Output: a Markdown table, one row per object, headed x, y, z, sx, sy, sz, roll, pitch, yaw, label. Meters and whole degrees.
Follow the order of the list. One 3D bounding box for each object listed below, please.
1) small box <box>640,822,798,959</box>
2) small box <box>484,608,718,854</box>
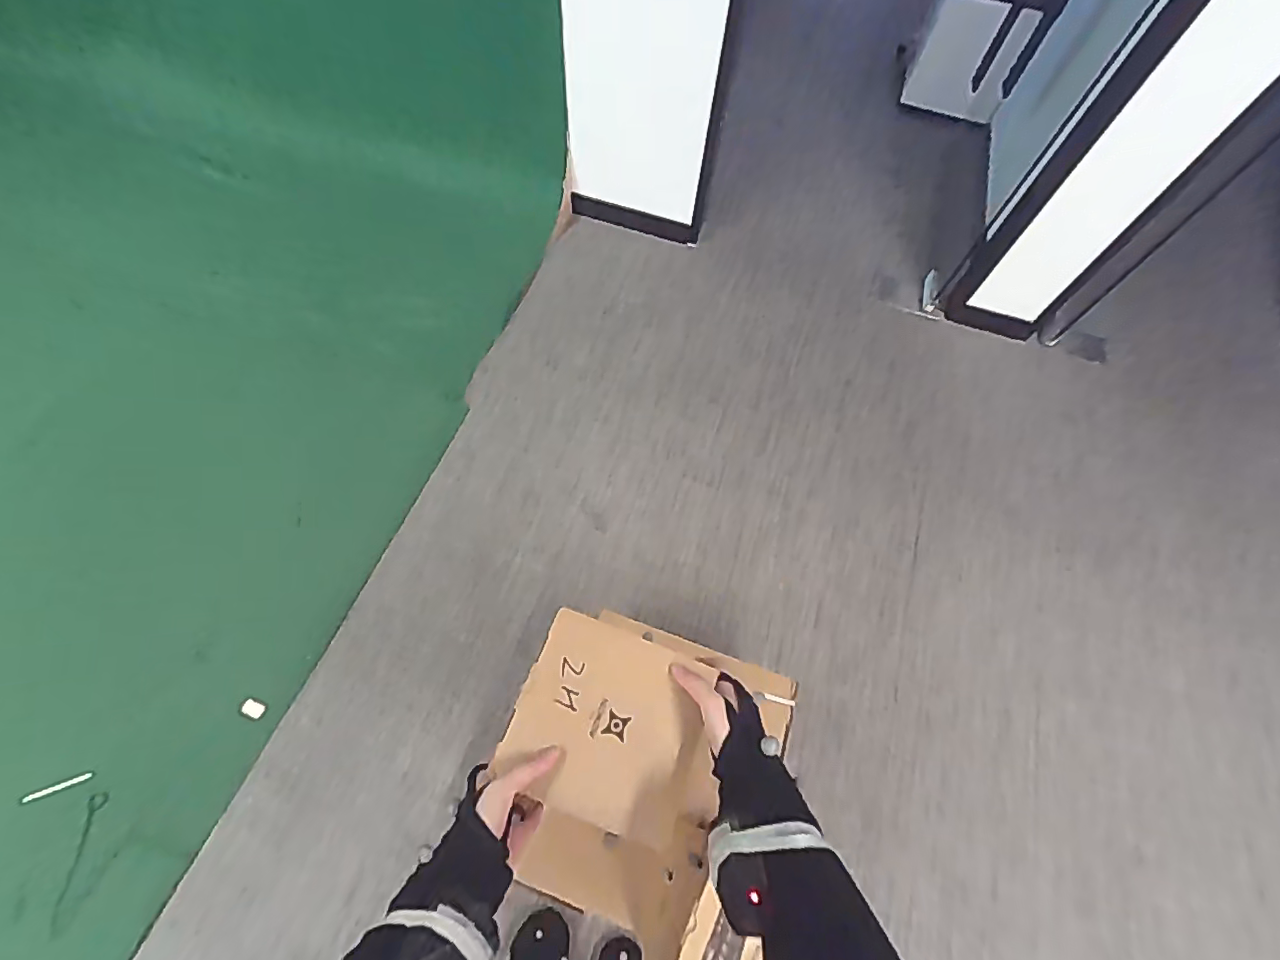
| x | y | z | sx | sy | sz | roll | pitch | yaw | label |
| --- | --- | --- | --- | --- | --- | --- | --- | --- | --- |
| 0.107 | 0.631 | 0.793 | 0.168 | 0.176 | 0.179 | 22 | 62 | 7 | small box |
| -0.039 | 0.259 | 0.581 | 0.179 | 0.176 | 0.168 | 22 | 65 | 4 | small box |
